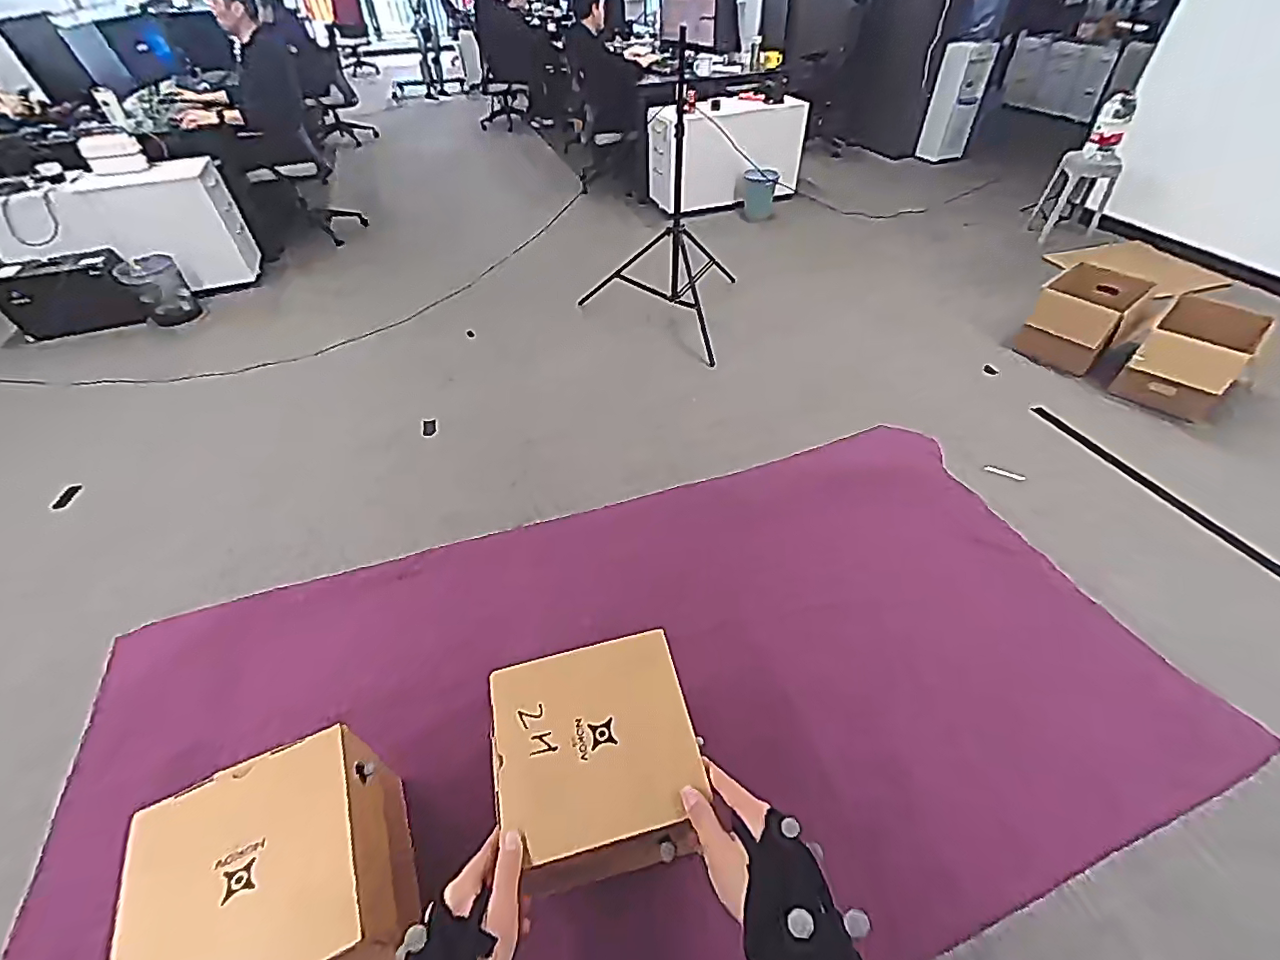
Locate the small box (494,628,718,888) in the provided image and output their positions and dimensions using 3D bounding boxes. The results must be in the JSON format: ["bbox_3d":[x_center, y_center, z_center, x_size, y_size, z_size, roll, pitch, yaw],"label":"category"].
[{"bbox_3d":[-0.035,0.275,0.534,0.179,0.176,0.168,-13,47,-6],"label":"small box"}]

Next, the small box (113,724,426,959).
[{"bbox_3d":[-0.307,0.360,0.477,0.168,0.176,0.179,-21,47,-18],"label":"small box"}]
